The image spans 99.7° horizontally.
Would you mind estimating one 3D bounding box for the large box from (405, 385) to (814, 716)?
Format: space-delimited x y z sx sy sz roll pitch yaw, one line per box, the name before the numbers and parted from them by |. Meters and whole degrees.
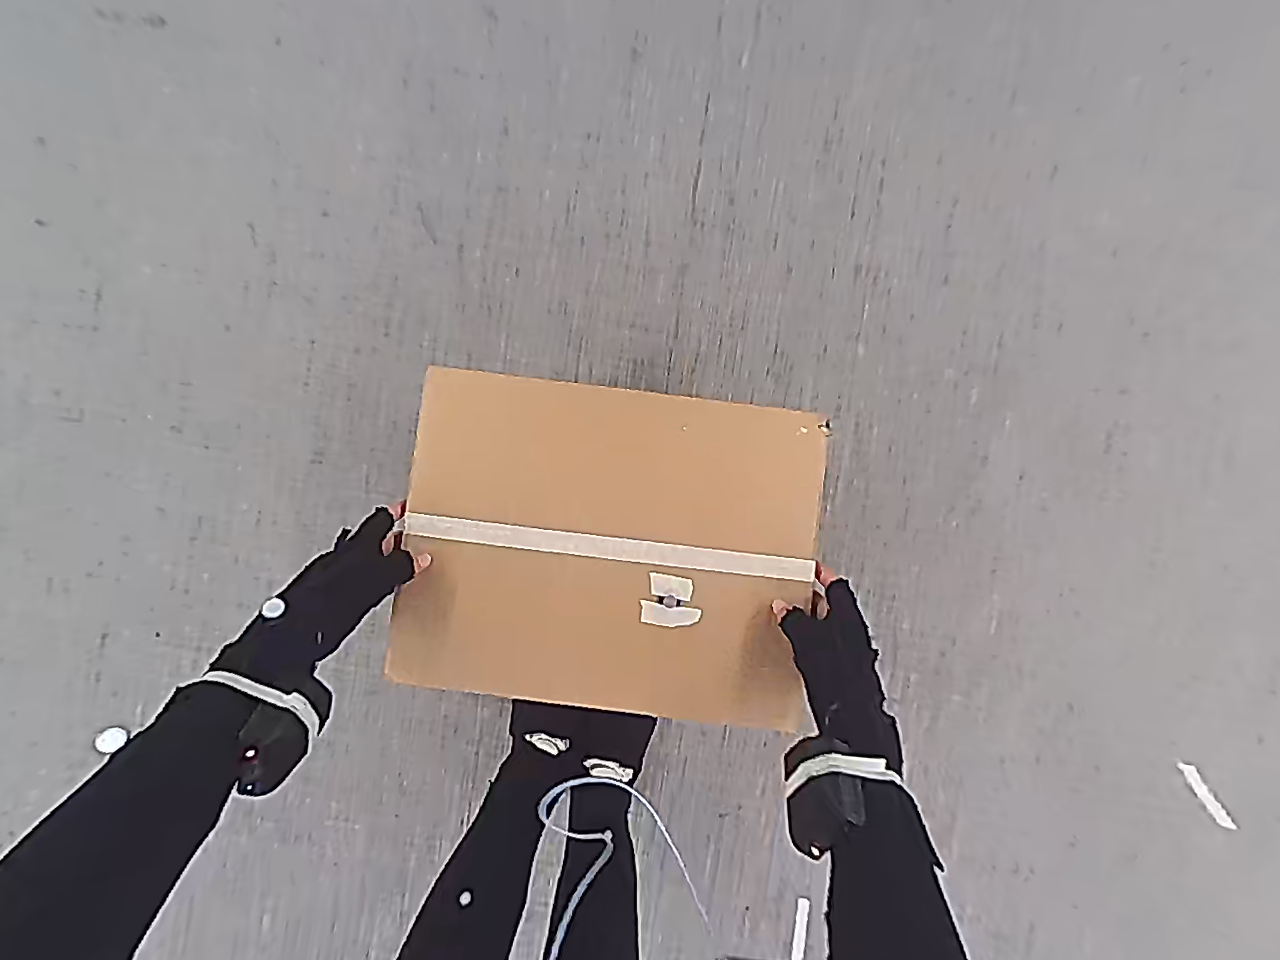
large box | -0.032 0.079 0.706 0.408 0.320 0.320 7 88 0
